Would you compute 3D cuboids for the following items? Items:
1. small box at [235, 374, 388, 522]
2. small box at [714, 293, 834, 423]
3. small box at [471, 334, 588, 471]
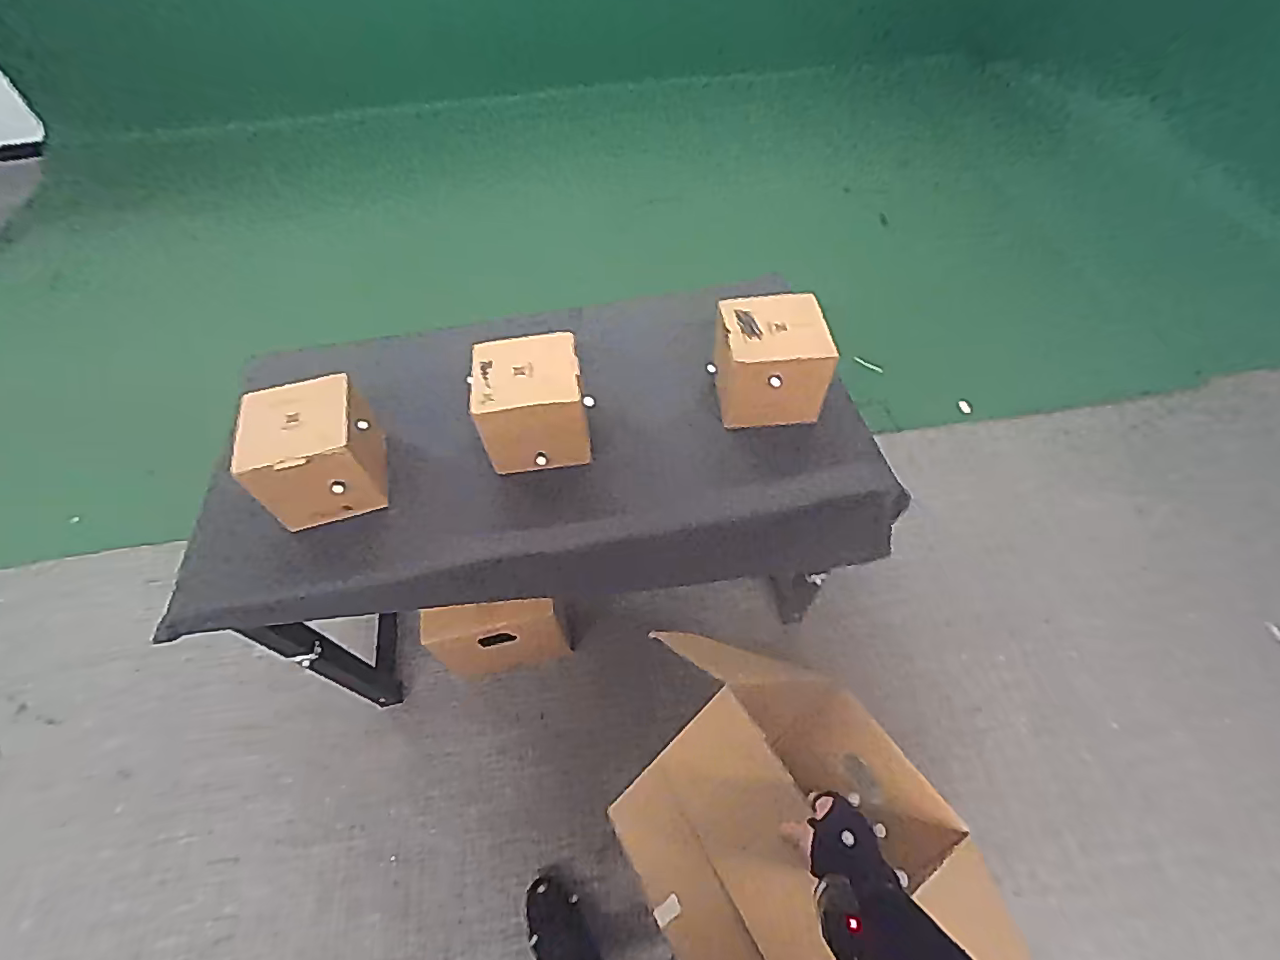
[{"bbox_3d":[-0.544,-0.046,0.920,0.168,0.176,0.179,-15,54,-10],"label":"small box"},{"bbox_3d":[0.234,-0.219,0.998,0.179,0.176,0.168,-4,56,0],"label":"small box"},{"bbox_3d":[-0.188,-0.134,0.963,0.179,0.176,0.168,-7,55,-3],"label":"small box"}]
